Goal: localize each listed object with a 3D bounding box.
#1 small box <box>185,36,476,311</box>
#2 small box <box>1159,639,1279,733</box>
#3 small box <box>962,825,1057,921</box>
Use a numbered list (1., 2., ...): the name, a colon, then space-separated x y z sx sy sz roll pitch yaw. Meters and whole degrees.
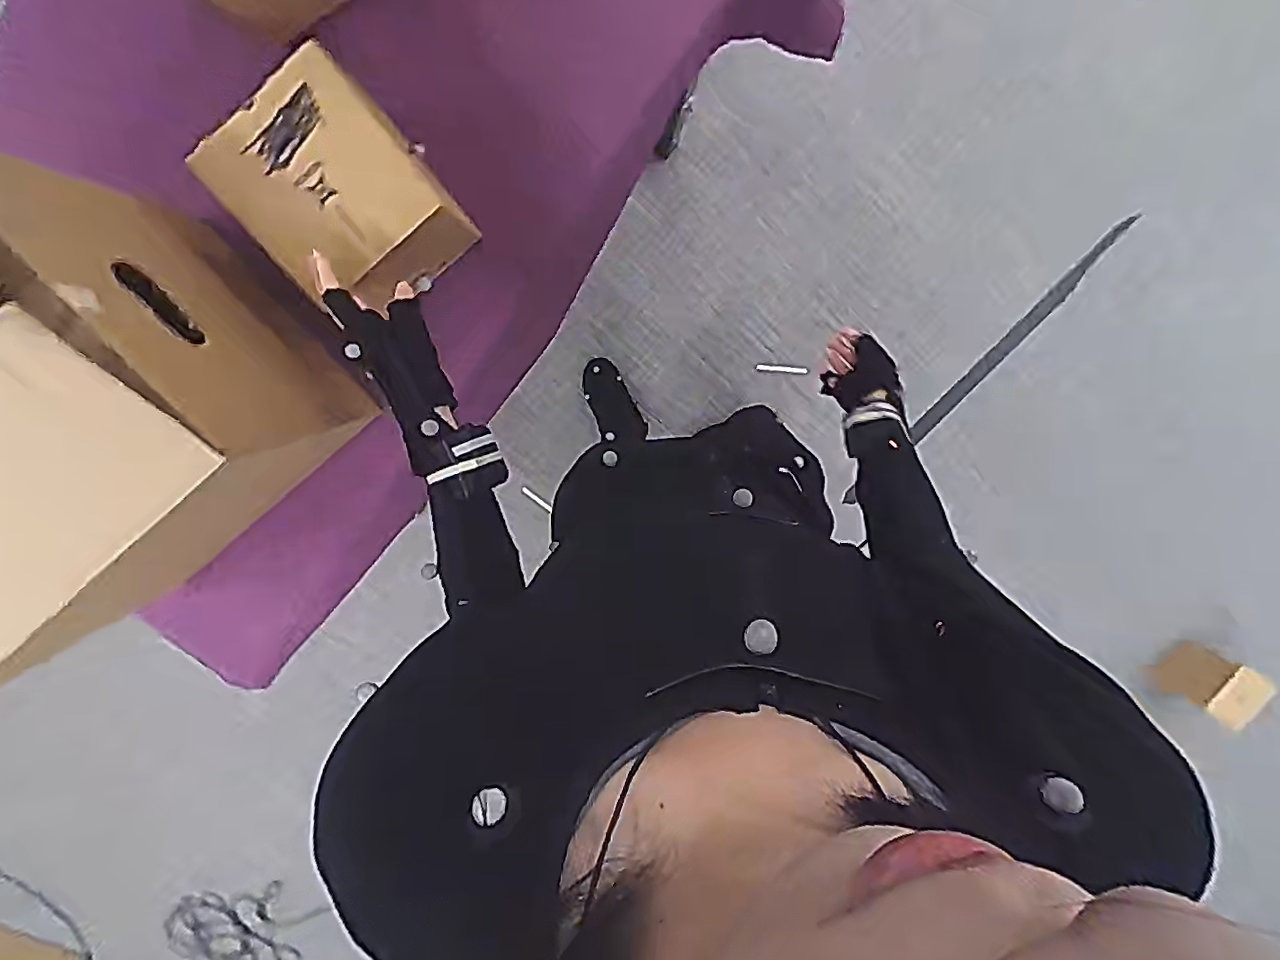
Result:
1. small box: -0.310 -0.303 0.585 0.168 0.176 0.179 -38 103 6
2. small box: 1.778 0.632 1.673 0.168 0.176 0.179 28 99 -10
3. small box: 1.221 1.296 1.801 0.168 0.176 0.179 -34 102 6
